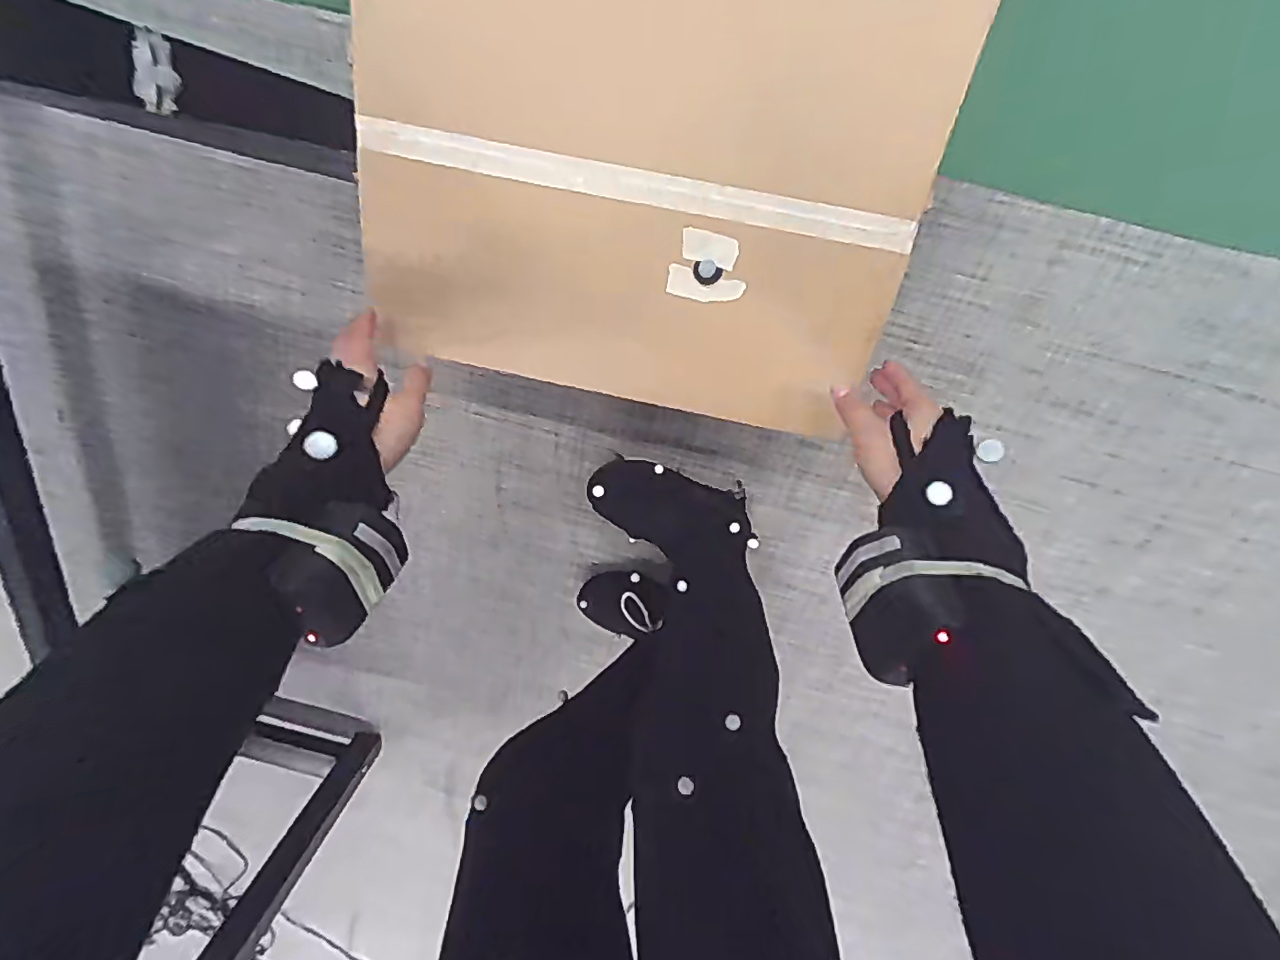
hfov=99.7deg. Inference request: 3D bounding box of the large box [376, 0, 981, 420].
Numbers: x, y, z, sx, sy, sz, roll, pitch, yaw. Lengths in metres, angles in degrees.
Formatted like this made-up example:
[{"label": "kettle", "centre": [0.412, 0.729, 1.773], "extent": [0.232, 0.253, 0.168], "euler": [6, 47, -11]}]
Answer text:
[{"label": "large box", "centre": [0.014, -0.280, 0.535], "extent": [0.408, 0.320, 0.320], "euler": [11, 115, 2]}]
